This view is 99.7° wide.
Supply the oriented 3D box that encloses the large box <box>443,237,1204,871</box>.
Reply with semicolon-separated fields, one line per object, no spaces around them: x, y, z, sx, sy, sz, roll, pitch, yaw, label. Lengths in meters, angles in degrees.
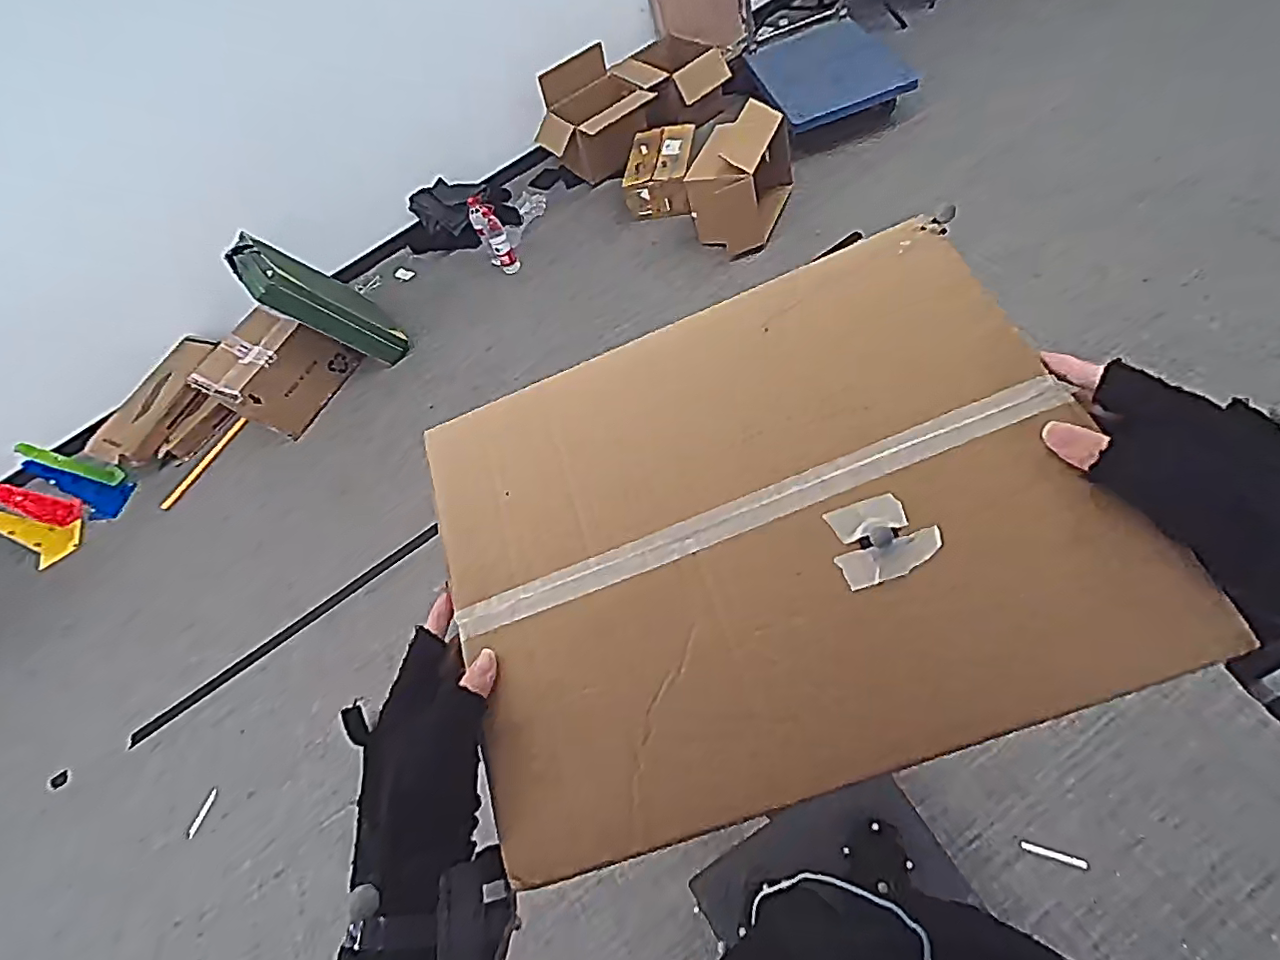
0.102;0.075;0.494;0.408;0.320;0.320;-22;68;5;large box
